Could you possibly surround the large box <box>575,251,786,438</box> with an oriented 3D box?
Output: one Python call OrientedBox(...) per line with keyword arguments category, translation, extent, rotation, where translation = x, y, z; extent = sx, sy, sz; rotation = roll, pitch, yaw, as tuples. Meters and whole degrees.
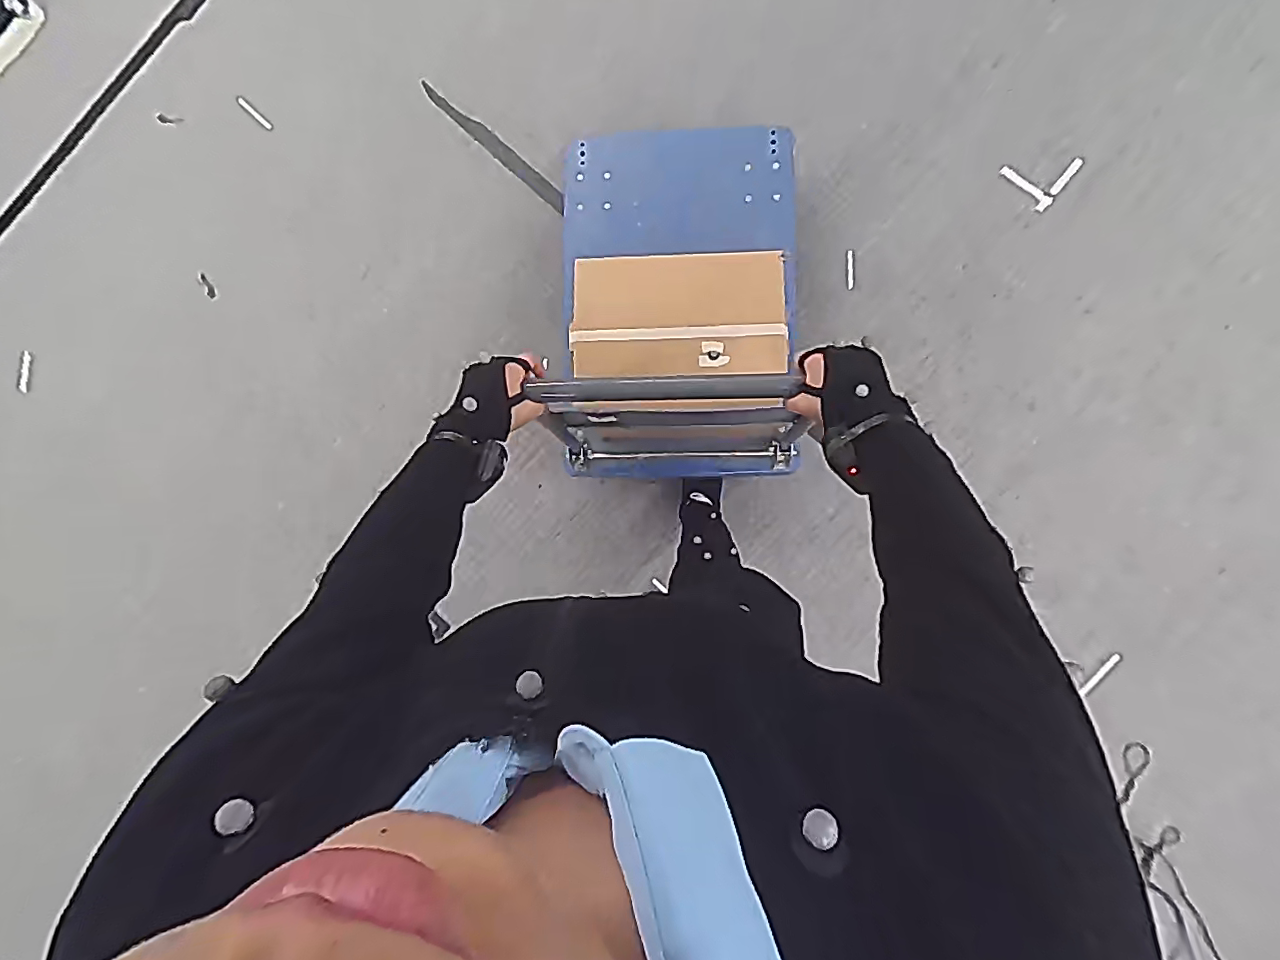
OrientedBox(category="large box", translation=(0.082, -0.271, 1.183), extent=(0.408, 0.320, 0.320), rotation=(-1, 86, 4))
